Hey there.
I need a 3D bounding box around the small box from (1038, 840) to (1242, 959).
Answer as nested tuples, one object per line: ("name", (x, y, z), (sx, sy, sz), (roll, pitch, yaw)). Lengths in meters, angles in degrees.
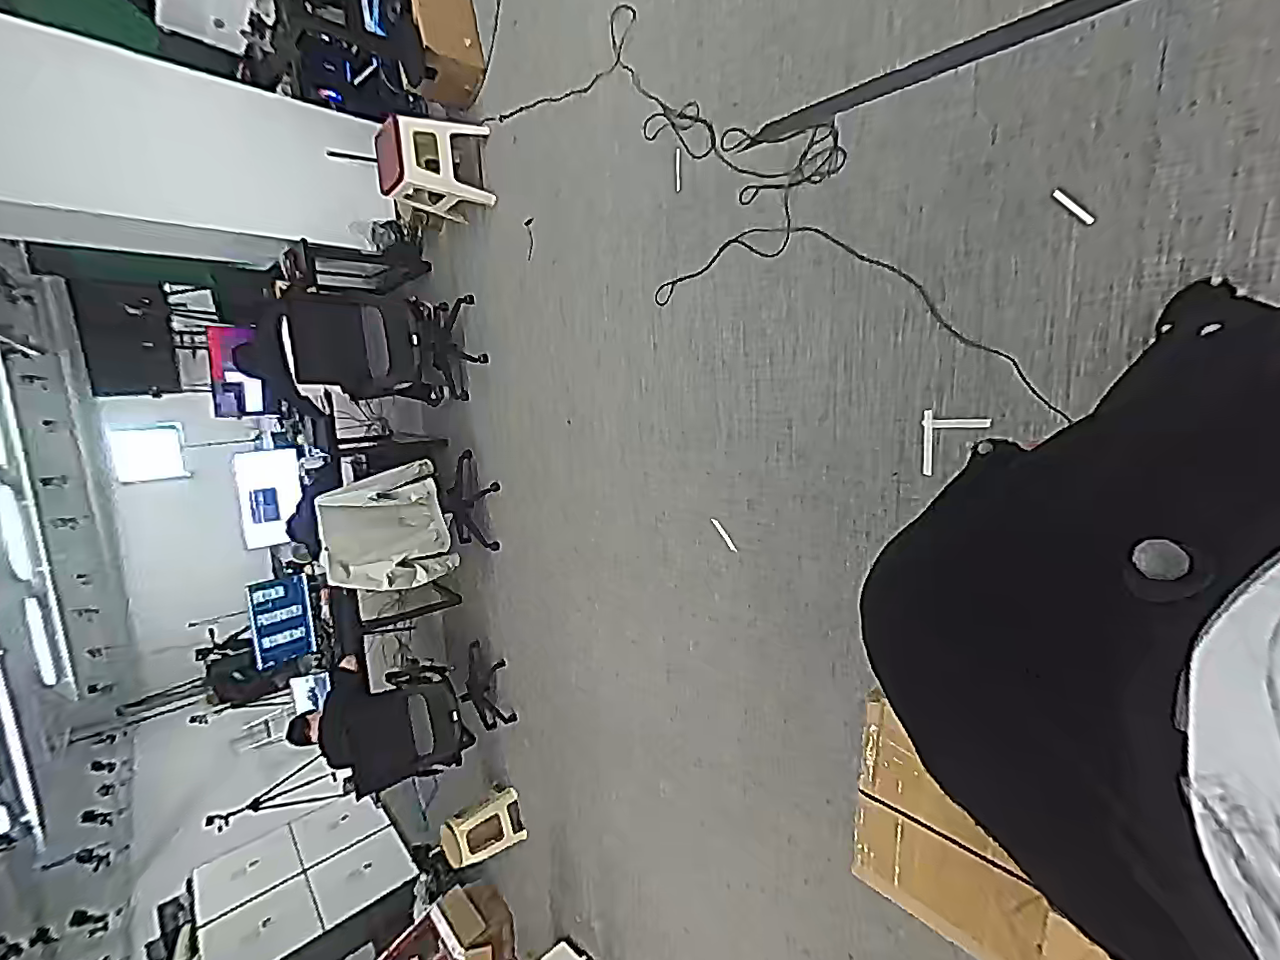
("small box", (0.621, 0.613, 0.679), (0.168, 0.176, 0.179), (11, 103, 47))
